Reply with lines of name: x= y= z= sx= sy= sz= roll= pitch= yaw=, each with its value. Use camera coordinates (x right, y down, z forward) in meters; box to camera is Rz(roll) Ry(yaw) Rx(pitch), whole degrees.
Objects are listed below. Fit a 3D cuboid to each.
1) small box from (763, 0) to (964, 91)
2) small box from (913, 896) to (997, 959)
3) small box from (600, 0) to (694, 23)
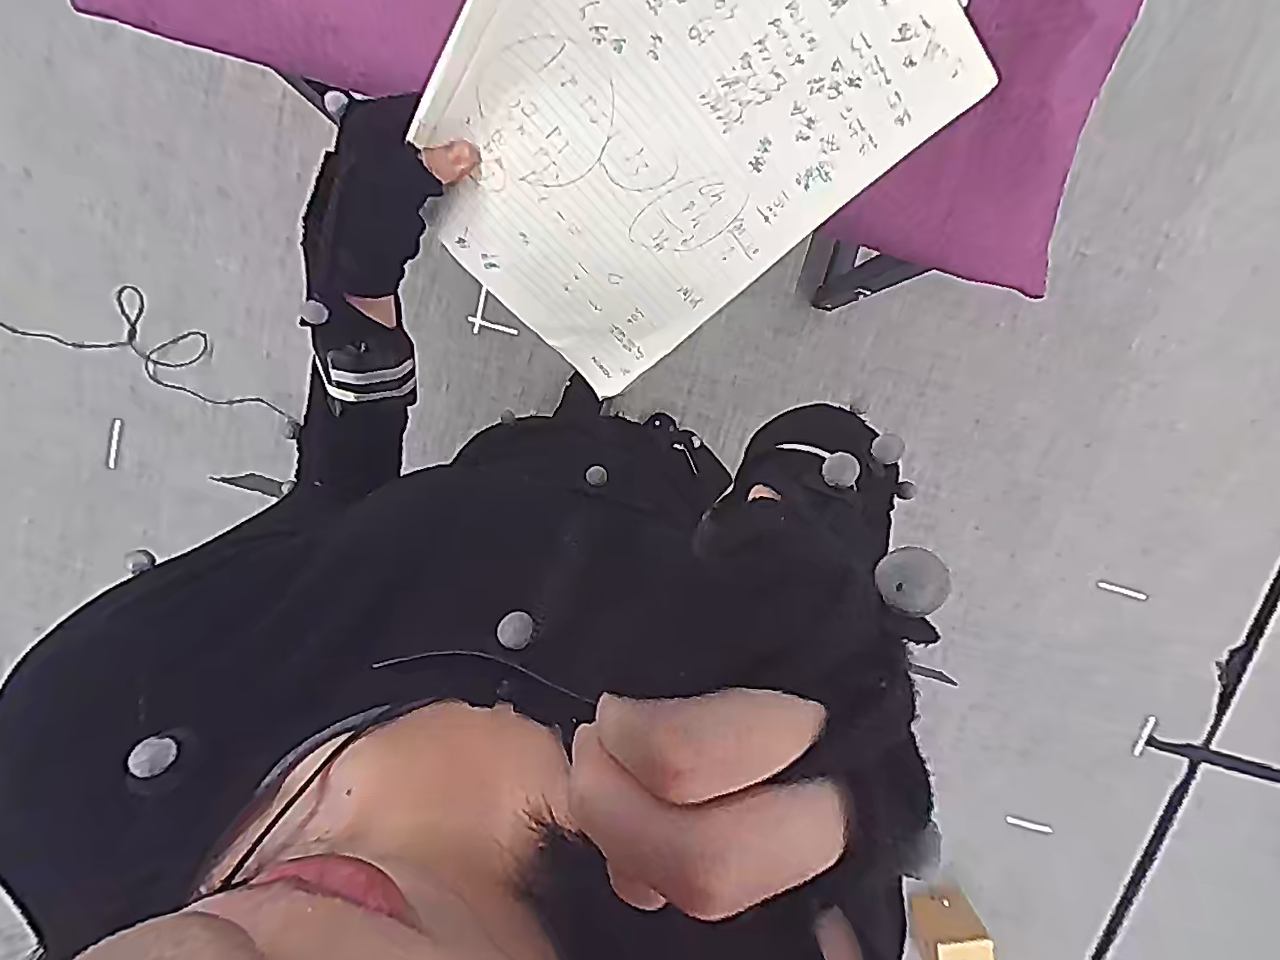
small box: x=0.257 y=-0.573 z=0.592 sx=0.179 sy=0.176 sz=0.168 roll=19 pitch=96 yaw=-2
small box: x=0.964 y=1.437 z=1.666 sx=0.168 sy=0.176 sz=0.179 roll=-6 pitch=98 yaw=0
small box: x=0.001 y=-0.645 z=0.576 sx=0.179 sy=0.176 sz=0.168 roll=15 pitch=98 yaw=-4
